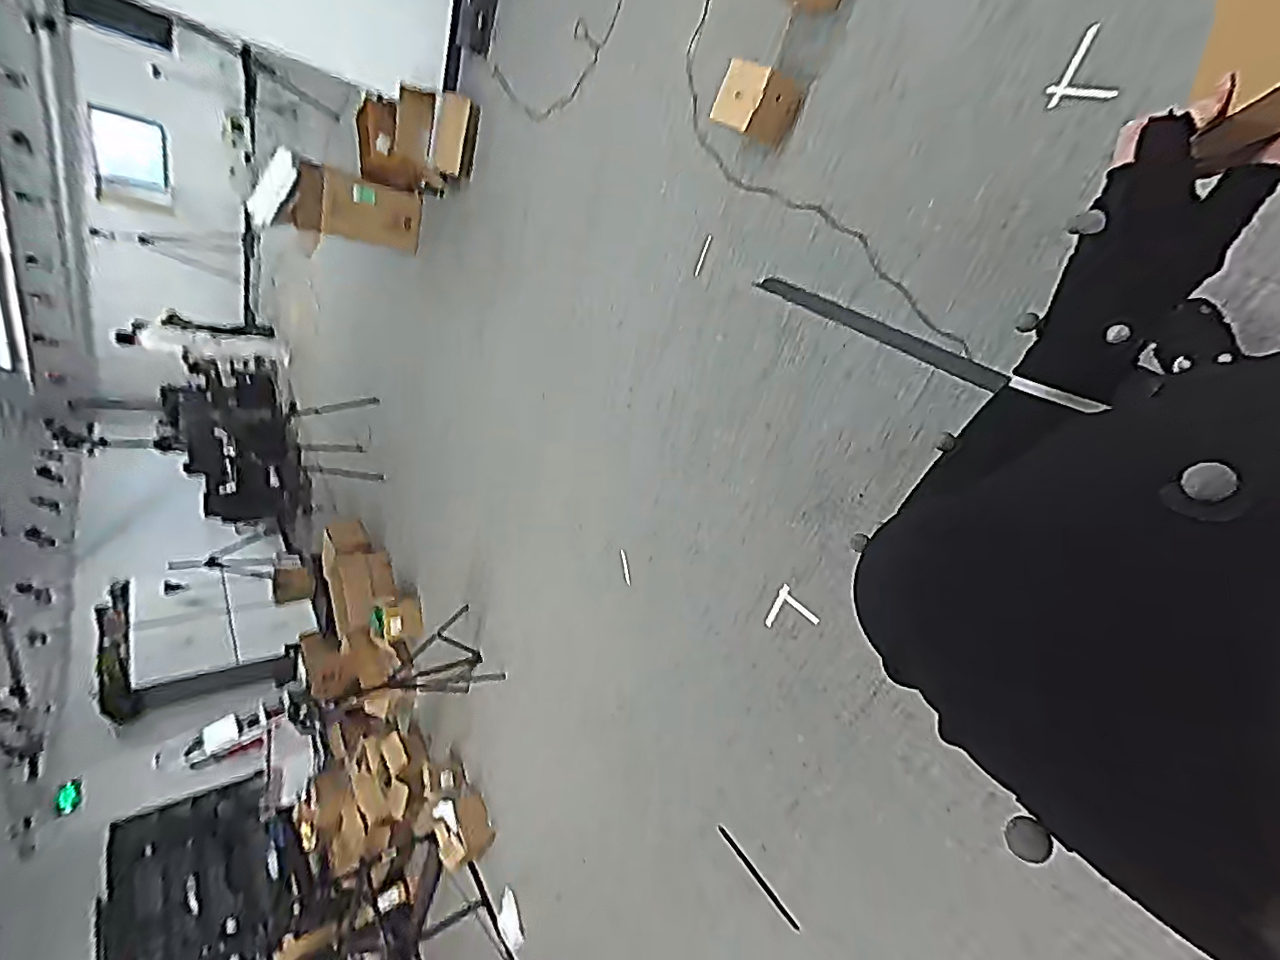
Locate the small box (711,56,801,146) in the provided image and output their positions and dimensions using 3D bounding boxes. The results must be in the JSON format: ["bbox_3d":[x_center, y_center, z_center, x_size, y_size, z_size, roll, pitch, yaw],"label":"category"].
[{"bbox_3d":[0.363,-1.168,1.677,0.179,0.176,0.168,50,126,34],"label":"small box"}]

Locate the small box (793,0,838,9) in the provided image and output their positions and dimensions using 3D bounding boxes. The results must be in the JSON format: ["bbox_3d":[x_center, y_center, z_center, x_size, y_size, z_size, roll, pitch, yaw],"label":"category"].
[{"bbox_3d":[0.490,-1.464,1.511,0.168,0.176,0.179,46,125,35],"label":"small box"}]

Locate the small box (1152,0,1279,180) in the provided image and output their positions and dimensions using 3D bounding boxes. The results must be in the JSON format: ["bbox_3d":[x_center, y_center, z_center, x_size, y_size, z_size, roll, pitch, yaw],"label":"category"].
[{"bbox_3d":[0.409,-0.258,0.245,0.168,0.179,0.176,11,95,4],"label":"small box"}]
